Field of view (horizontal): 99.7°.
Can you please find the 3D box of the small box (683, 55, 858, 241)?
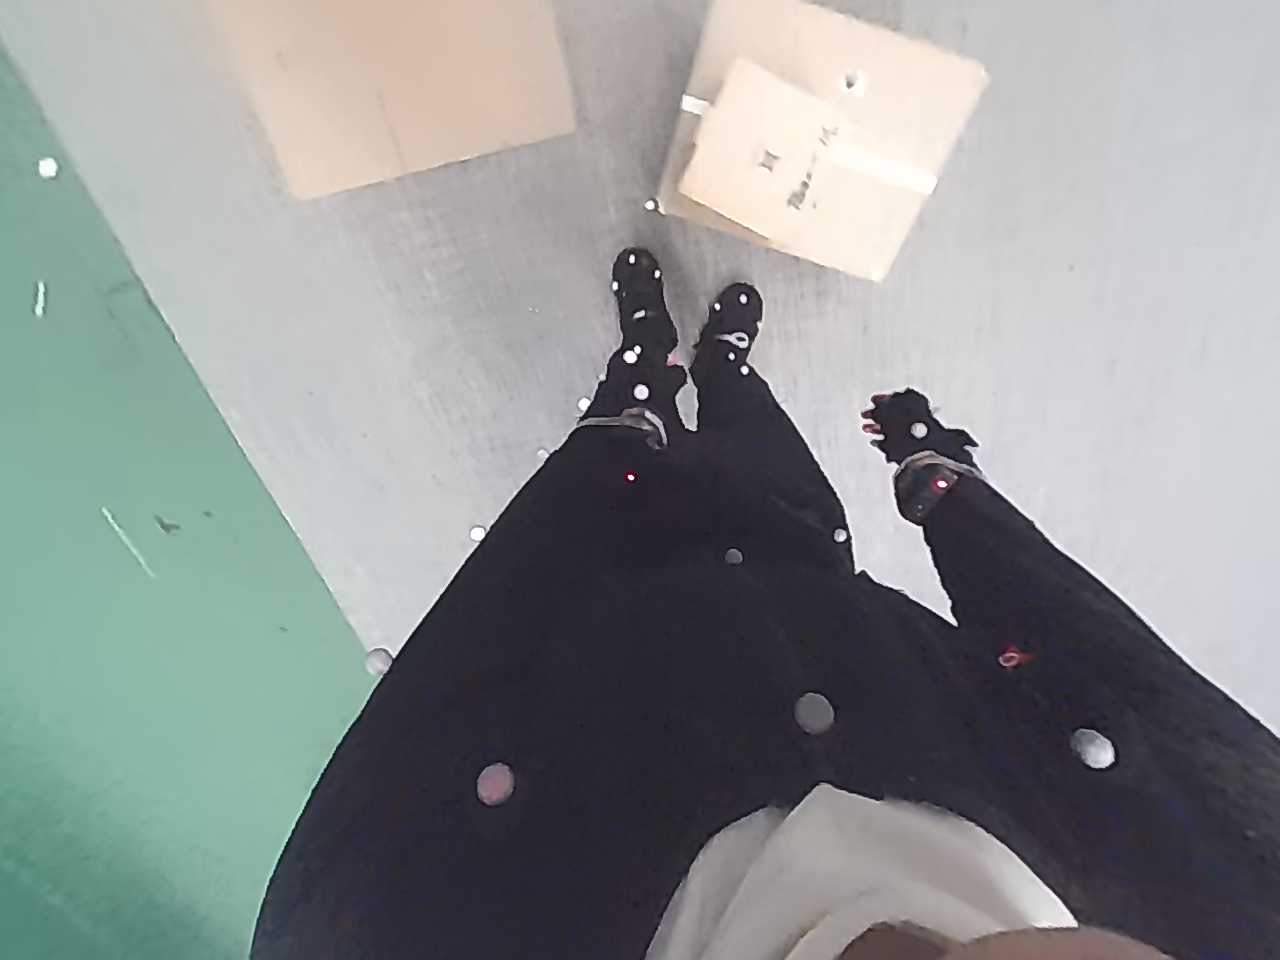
[{"bbox_3d":[0.177,-0.466,0.783,0.179,0.176,0.168,23,118,-4],"label":"small box"}]
